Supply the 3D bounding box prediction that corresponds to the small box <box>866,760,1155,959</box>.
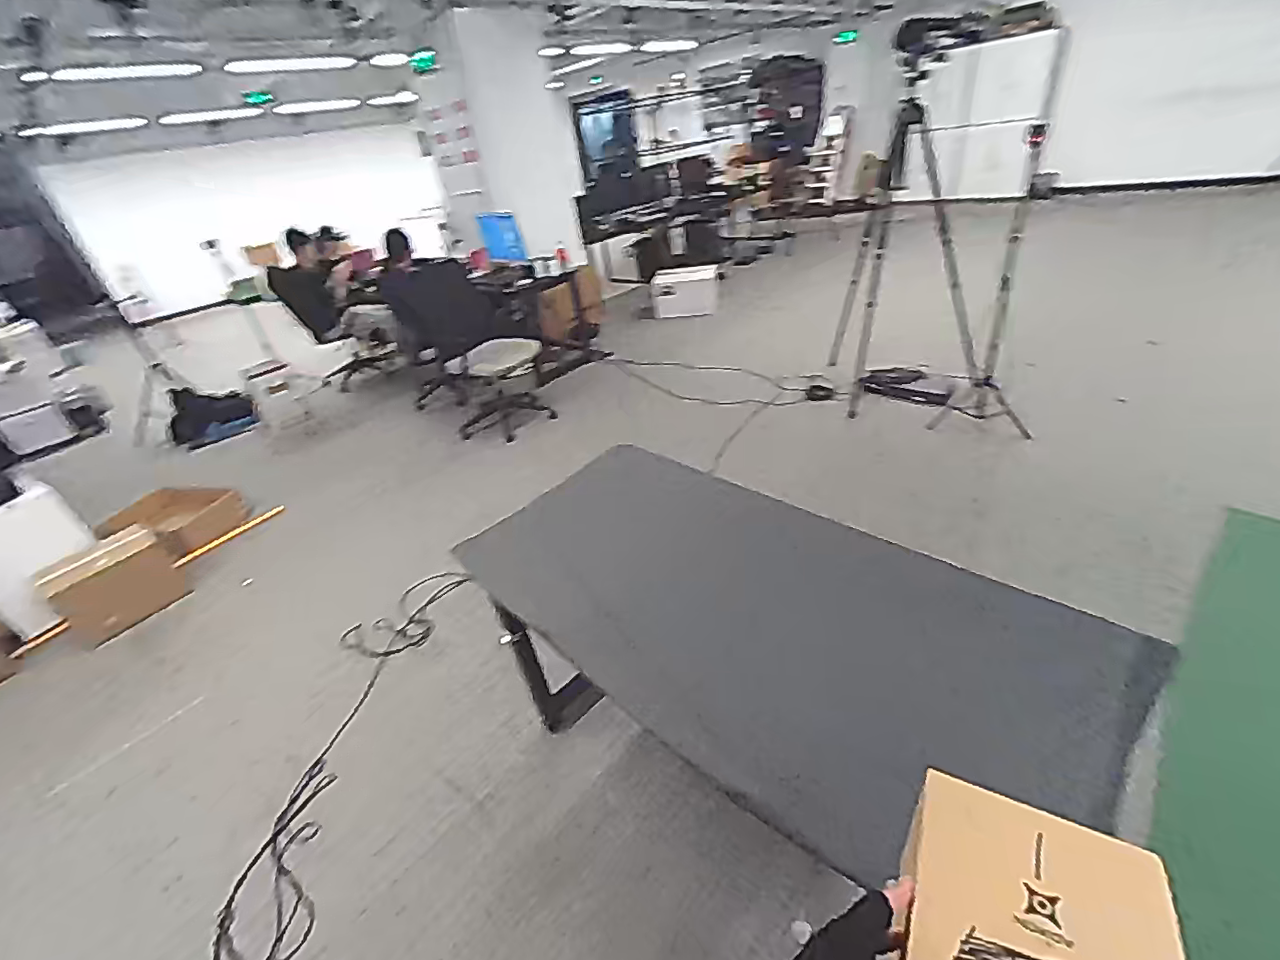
[{"bbox_3d":[0.286,0.383,0.443,0.168,0.176,0.179,11,34,27],"label":"small box"}]
